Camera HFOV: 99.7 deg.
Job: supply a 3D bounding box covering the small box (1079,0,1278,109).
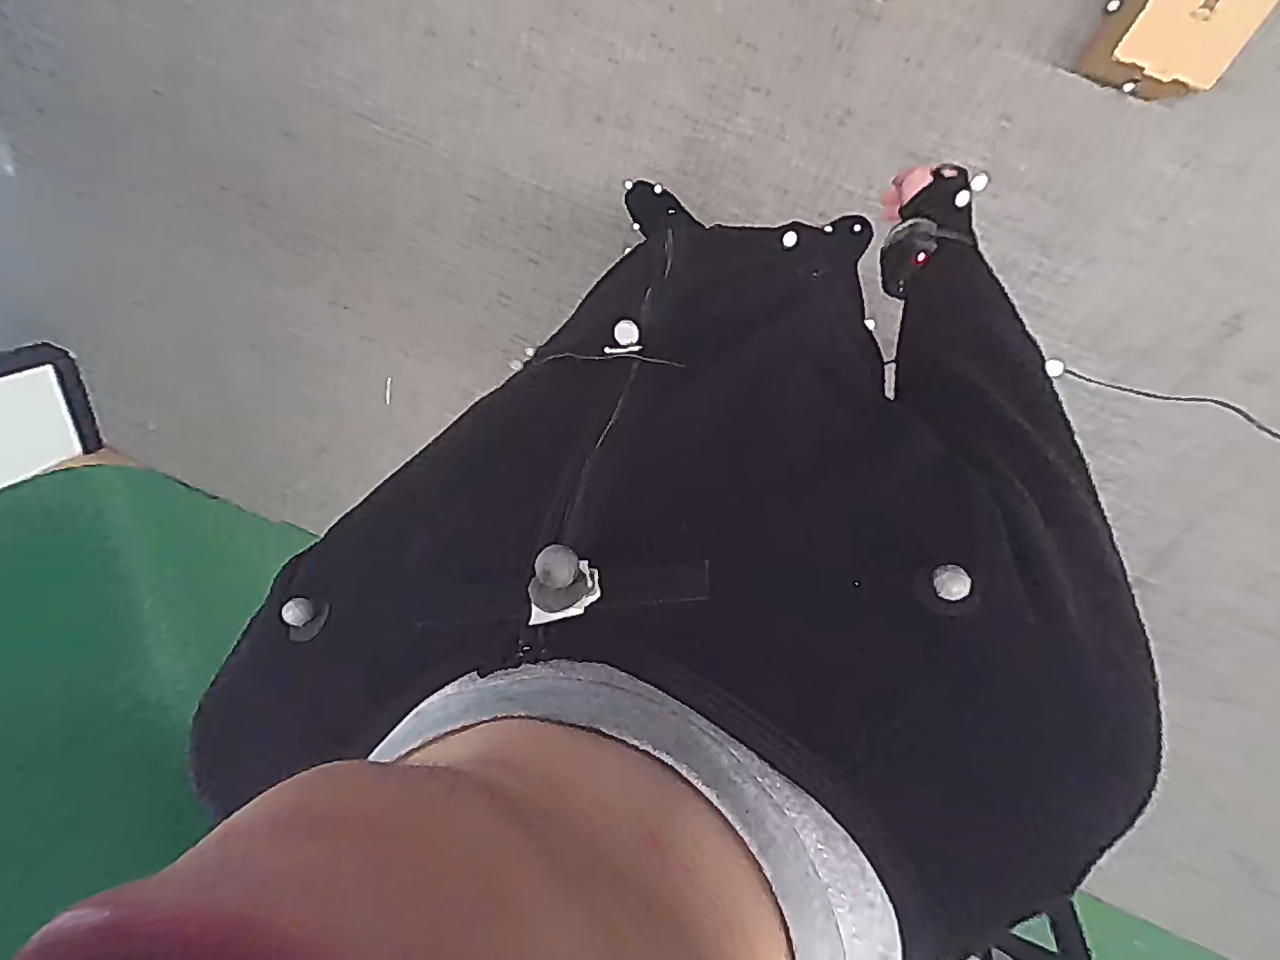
[{"bbox_3d":[0.904,-0.762,0.924,0.168,0.176,0.179,24,124,4],"label":"small box"}]
